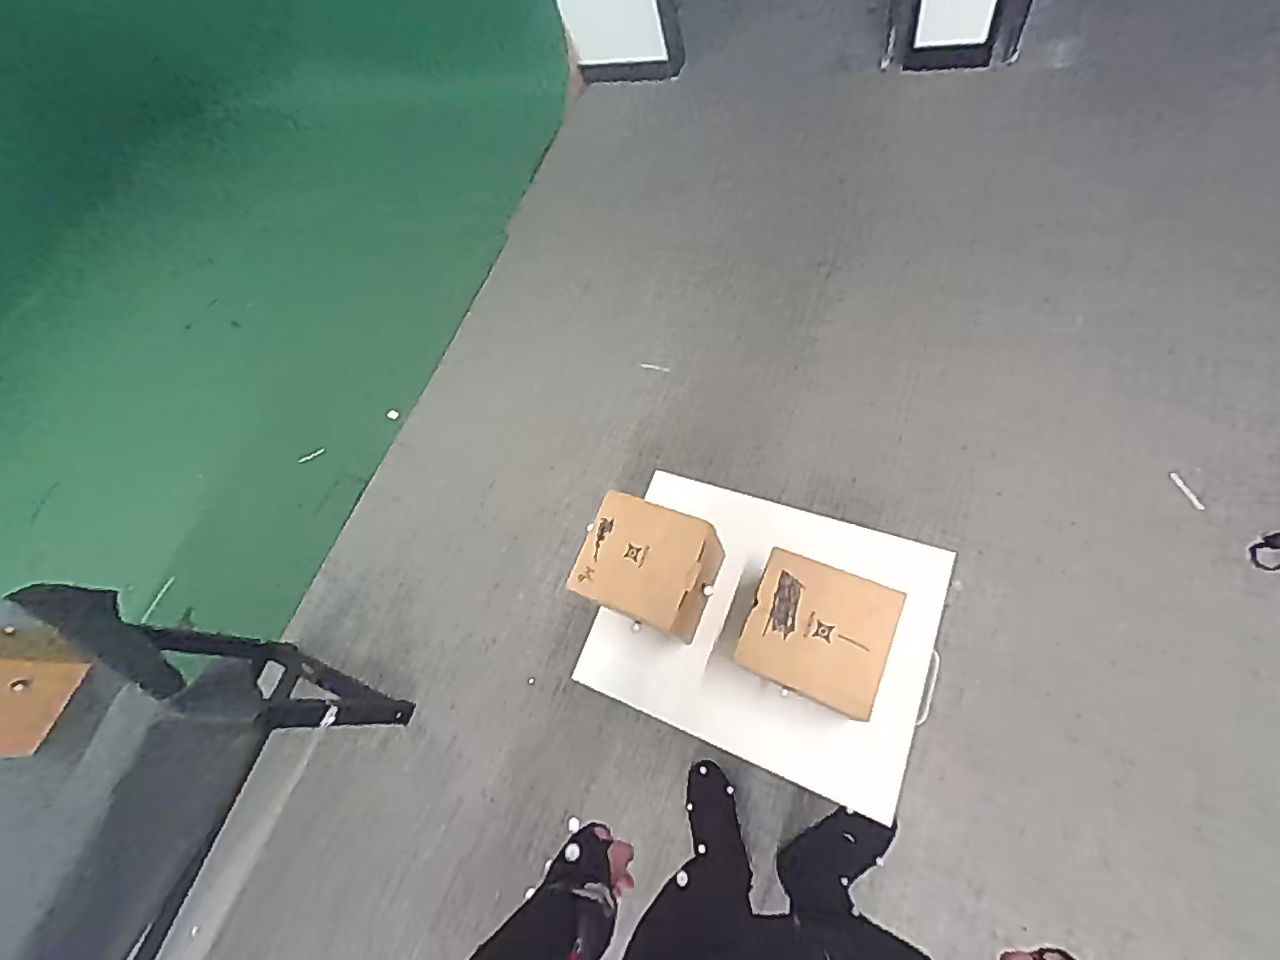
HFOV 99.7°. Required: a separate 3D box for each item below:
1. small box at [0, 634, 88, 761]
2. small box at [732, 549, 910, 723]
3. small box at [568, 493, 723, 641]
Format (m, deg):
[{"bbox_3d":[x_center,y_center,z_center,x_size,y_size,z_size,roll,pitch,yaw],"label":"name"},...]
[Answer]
[{"bbox_3d":[-1.158,0.383,0.970,0.168,0.176,0.179,16,75,24],"label":"small box"},{"bbox_3d":[0.246,0.218,0.748,0.179,0.176,0.168,19,75,23],"label":"small box"},{"bbox_3d":[0.020,0.143,0.851,0.179,0.176,0.168,17,74,21],"label":"small box"}]
